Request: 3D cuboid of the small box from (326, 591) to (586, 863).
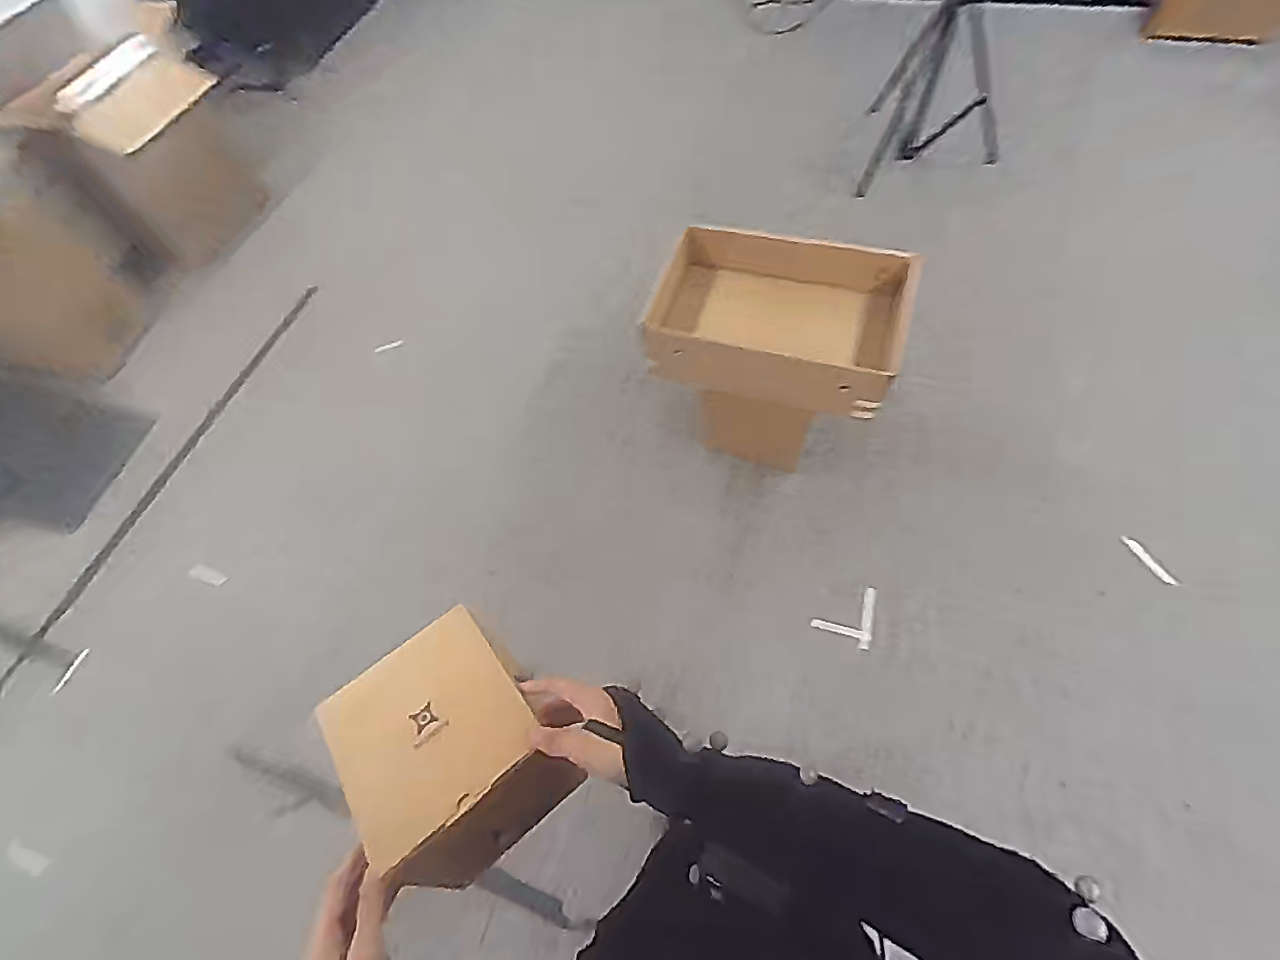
[{"bbox_3d":[-0.178,0.256,0.558,0.168,0.176,0.179,-35,55,-17],"label":"small box"}]
